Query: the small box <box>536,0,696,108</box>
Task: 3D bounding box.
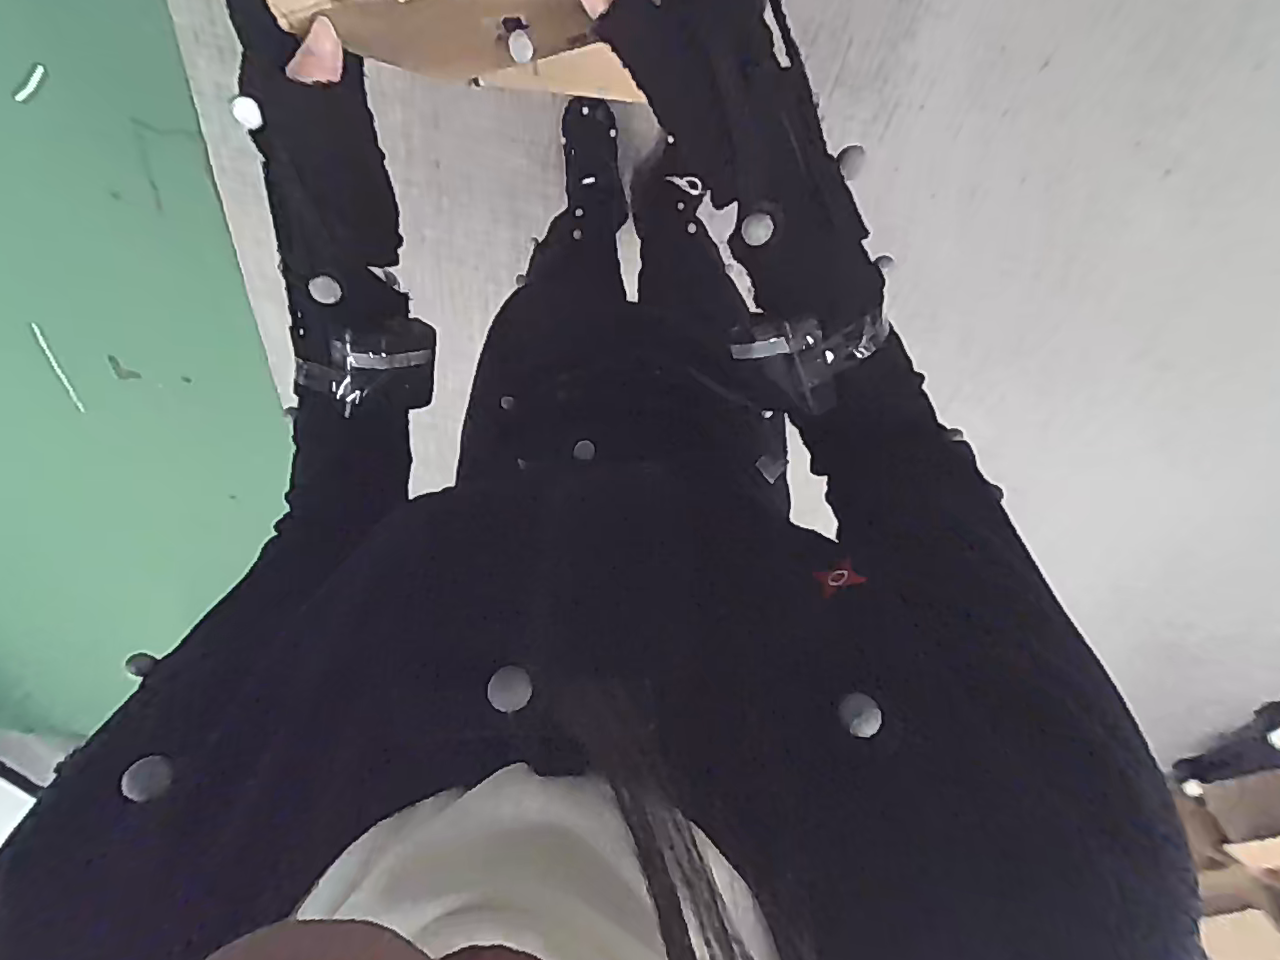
[{"bbox_3d":[-0.023,-0.576,0.658,0.179,0.176,0.168,8,134,-1],"label":"small box"}]
